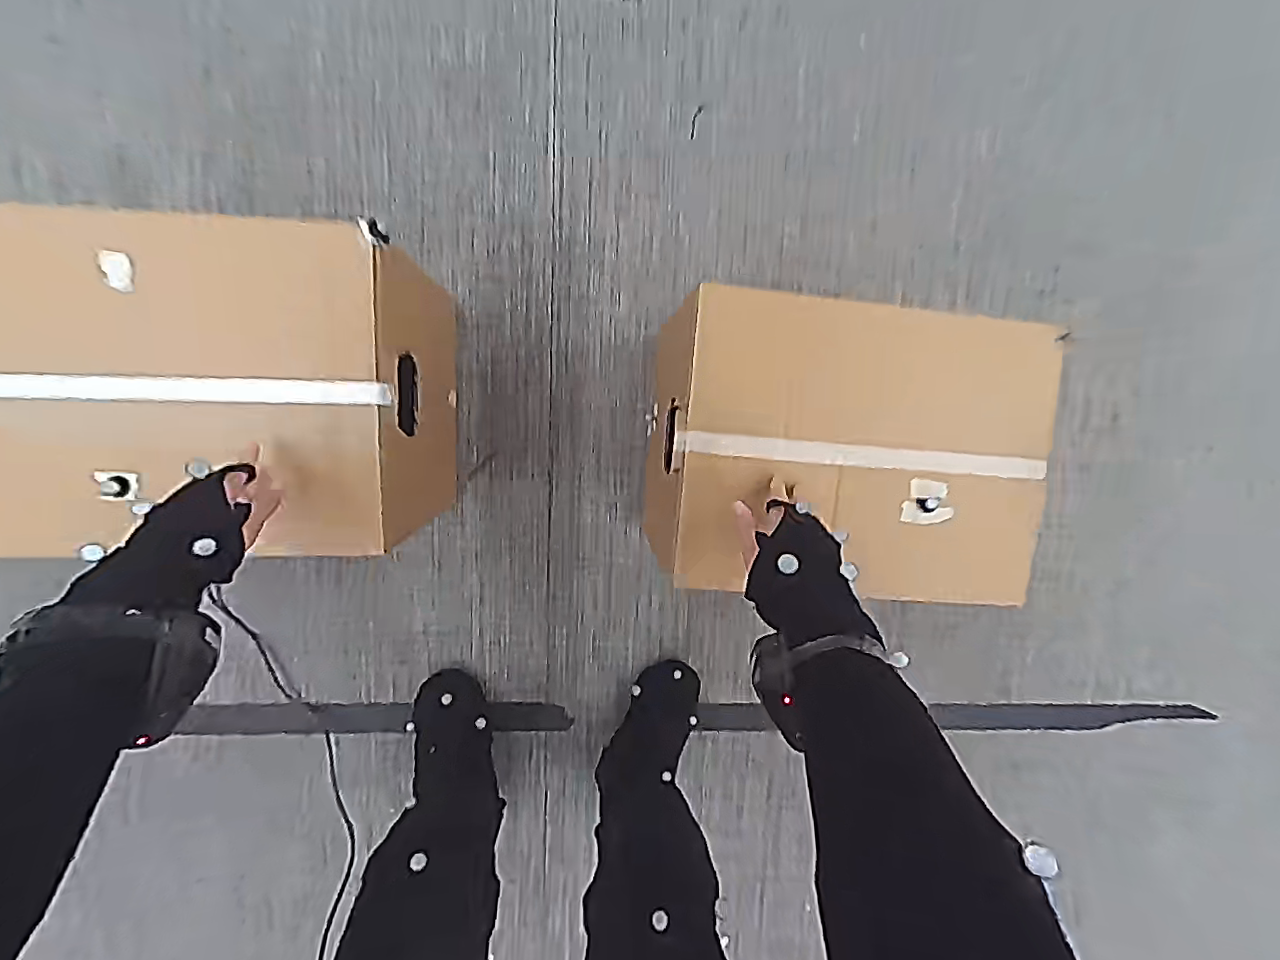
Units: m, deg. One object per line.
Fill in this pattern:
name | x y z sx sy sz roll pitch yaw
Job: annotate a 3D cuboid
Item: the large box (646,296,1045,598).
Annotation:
large box | 0.230 -0.038 0.740 0.408 0.320 0.320 4 95 -7
